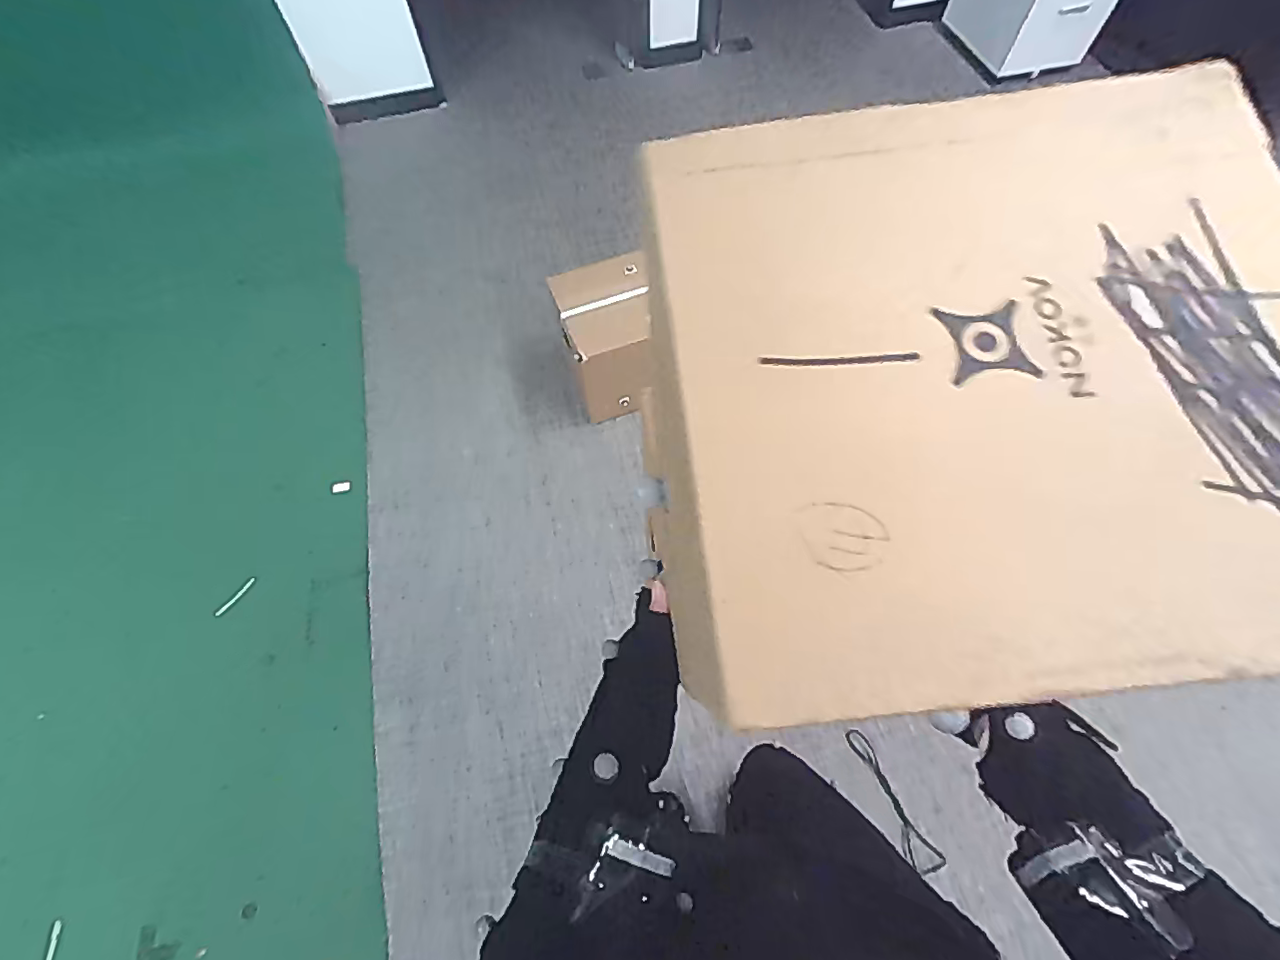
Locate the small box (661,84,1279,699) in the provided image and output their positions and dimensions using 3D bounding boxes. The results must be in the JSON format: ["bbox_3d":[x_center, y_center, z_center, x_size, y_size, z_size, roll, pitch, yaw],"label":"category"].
[{"bbox_3d":[0.102,-0.012,0.218,0.179,0.176,0.168,-5,72,1],"label":"small box"}]
